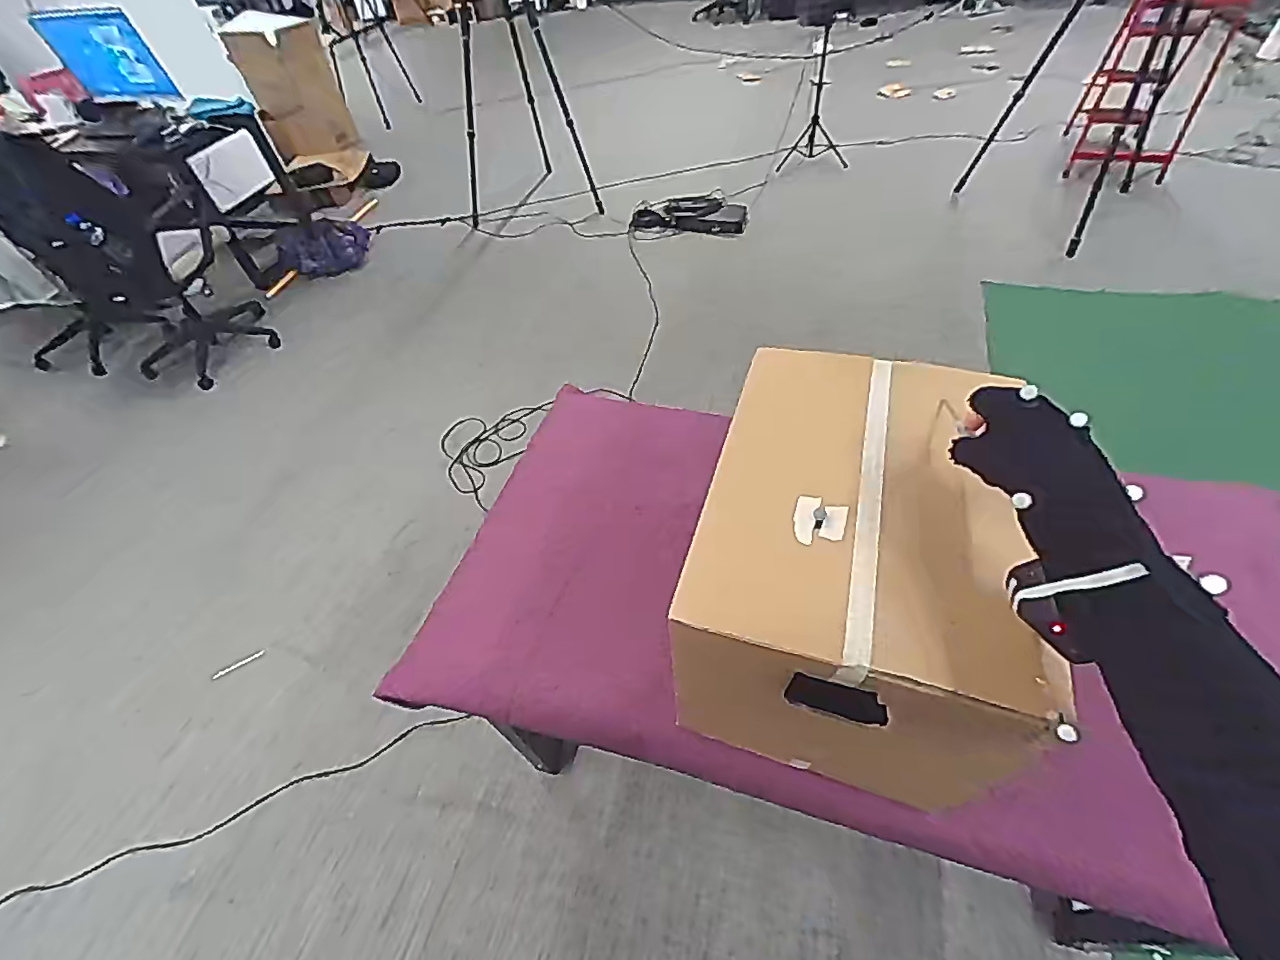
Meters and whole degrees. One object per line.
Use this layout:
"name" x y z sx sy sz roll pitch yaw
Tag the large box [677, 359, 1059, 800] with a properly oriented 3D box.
"large box" 0.247 0.110 0.680 0.320 0.320 0.408 12 52 16
